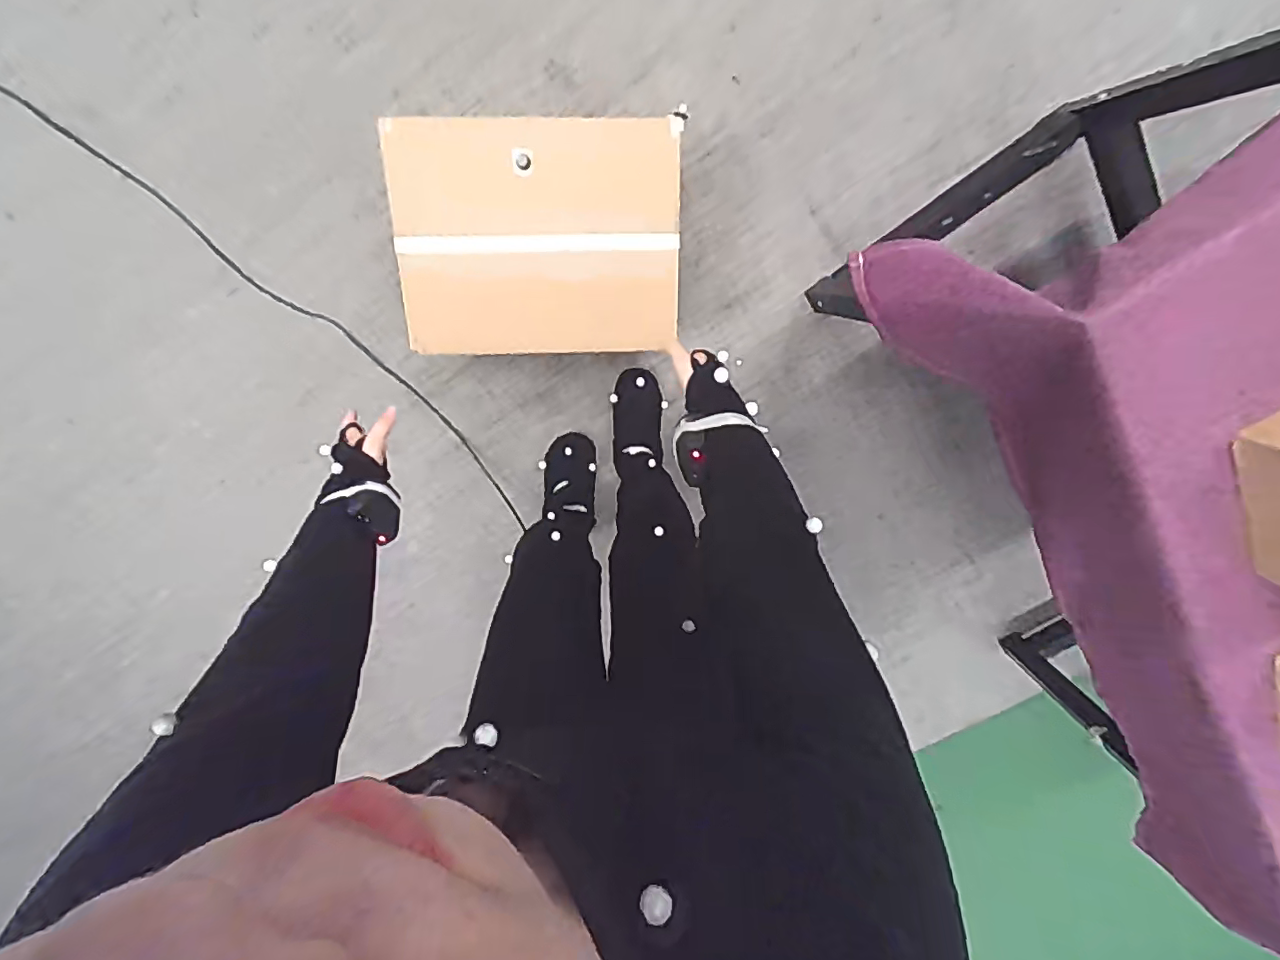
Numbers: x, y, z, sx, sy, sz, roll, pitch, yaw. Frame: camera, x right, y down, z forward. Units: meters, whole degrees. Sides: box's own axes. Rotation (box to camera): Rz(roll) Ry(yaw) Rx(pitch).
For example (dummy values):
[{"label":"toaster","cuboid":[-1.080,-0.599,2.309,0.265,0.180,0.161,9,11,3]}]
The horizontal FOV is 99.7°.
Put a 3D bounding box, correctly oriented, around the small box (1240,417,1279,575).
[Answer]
[{"label":"small box","cuboid":[0.643,0.017,0.425,0.168,0.176,0.179,-30,111,9]}]
